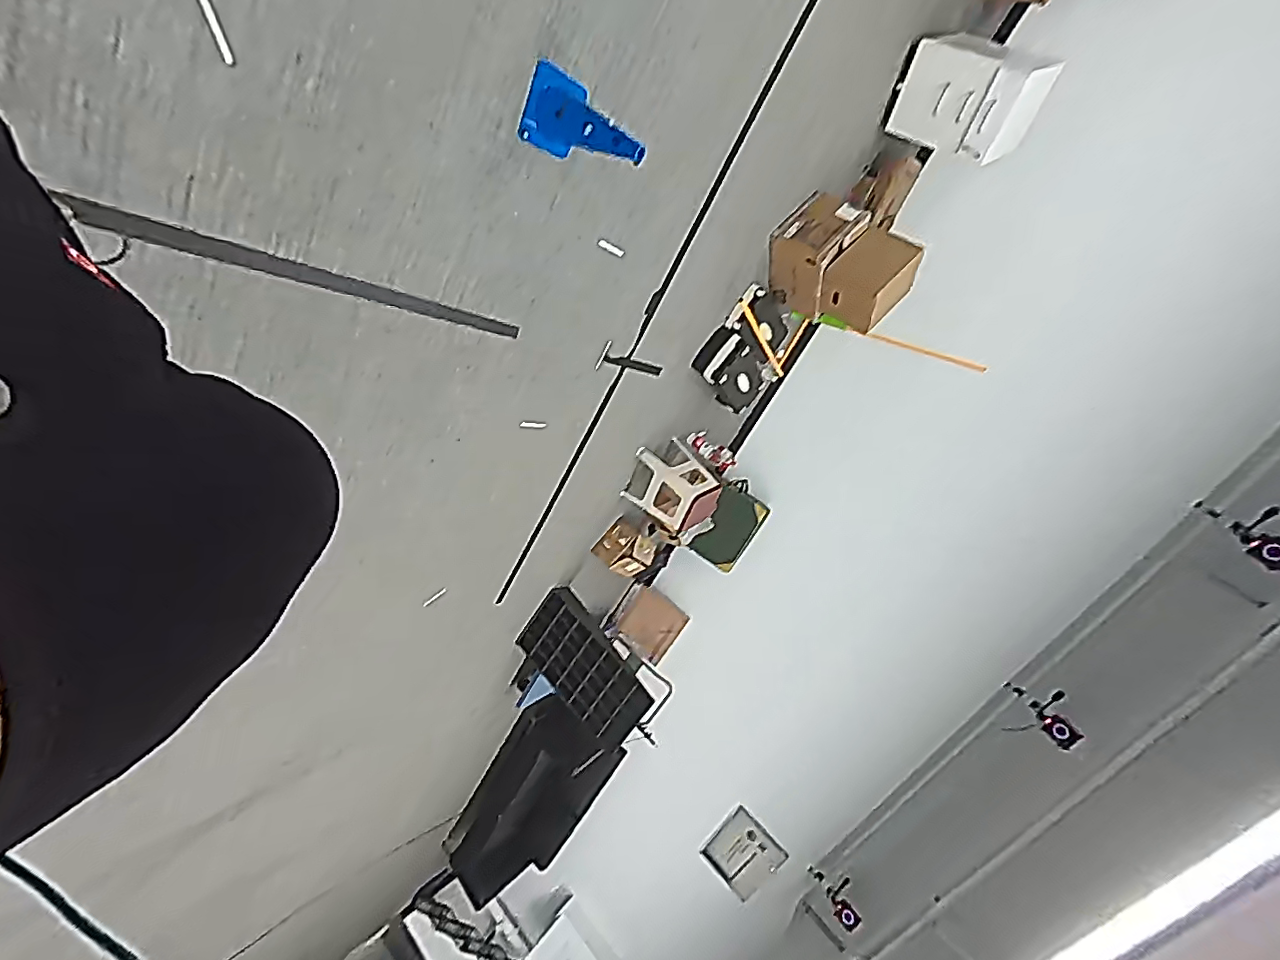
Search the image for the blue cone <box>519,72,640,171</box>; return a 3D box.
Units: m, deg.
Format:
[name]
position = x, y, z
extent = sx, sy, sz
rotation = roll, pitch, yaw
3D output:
[blue cone]
position = -0.139, -0.947, 1.487
extent = 0.193, 0.380, 0.192
rotation = -12, 136, -55
